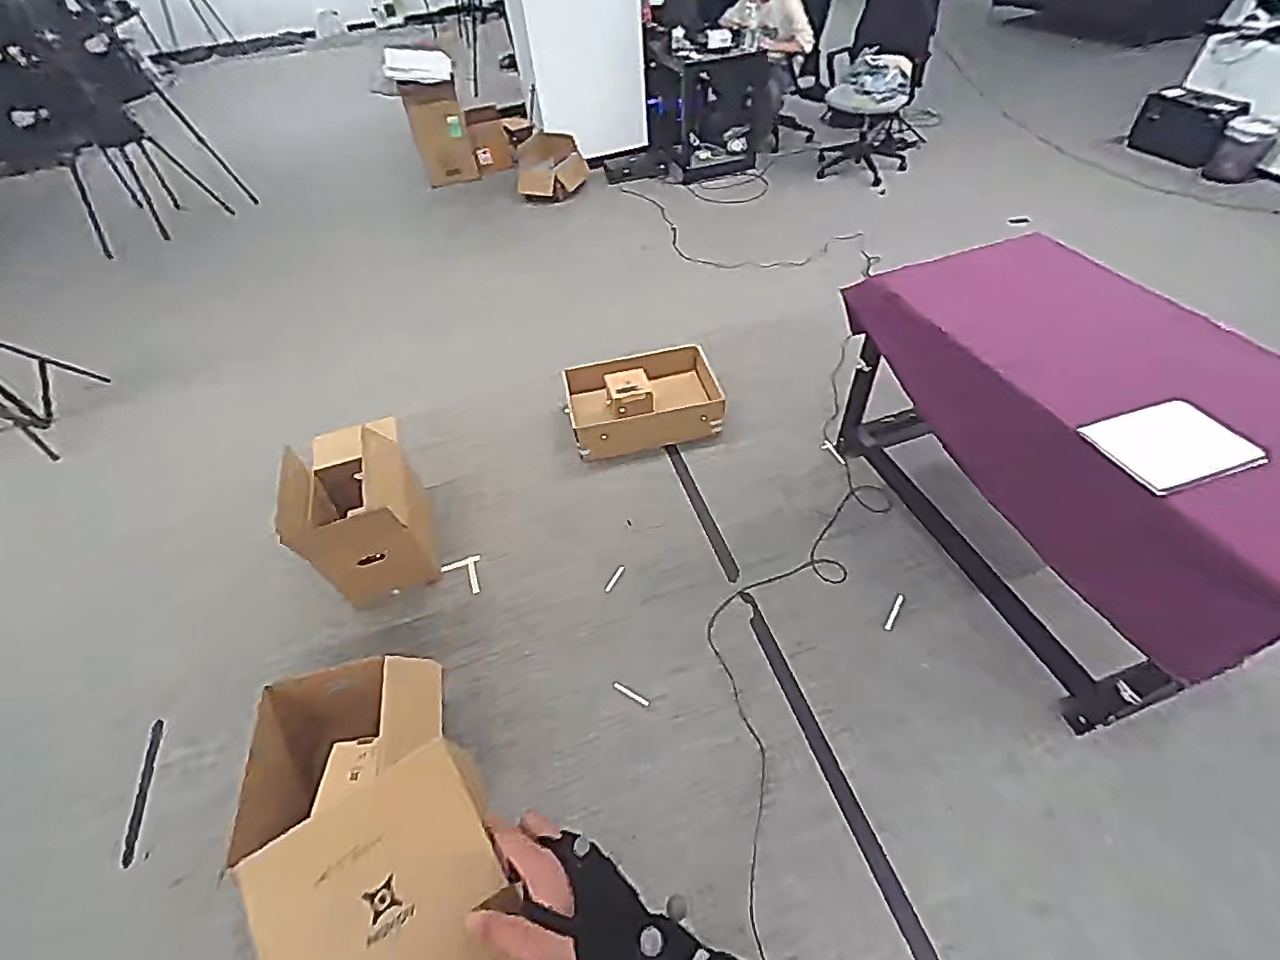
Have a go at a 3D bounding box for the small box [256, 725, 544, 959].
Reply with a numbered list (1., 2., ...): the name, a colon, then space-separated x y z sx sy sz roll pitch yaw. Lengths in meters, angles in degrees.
1. small box: -0.194 0.351 0.482 0.168 0.176 0.179 -25 65 -21
